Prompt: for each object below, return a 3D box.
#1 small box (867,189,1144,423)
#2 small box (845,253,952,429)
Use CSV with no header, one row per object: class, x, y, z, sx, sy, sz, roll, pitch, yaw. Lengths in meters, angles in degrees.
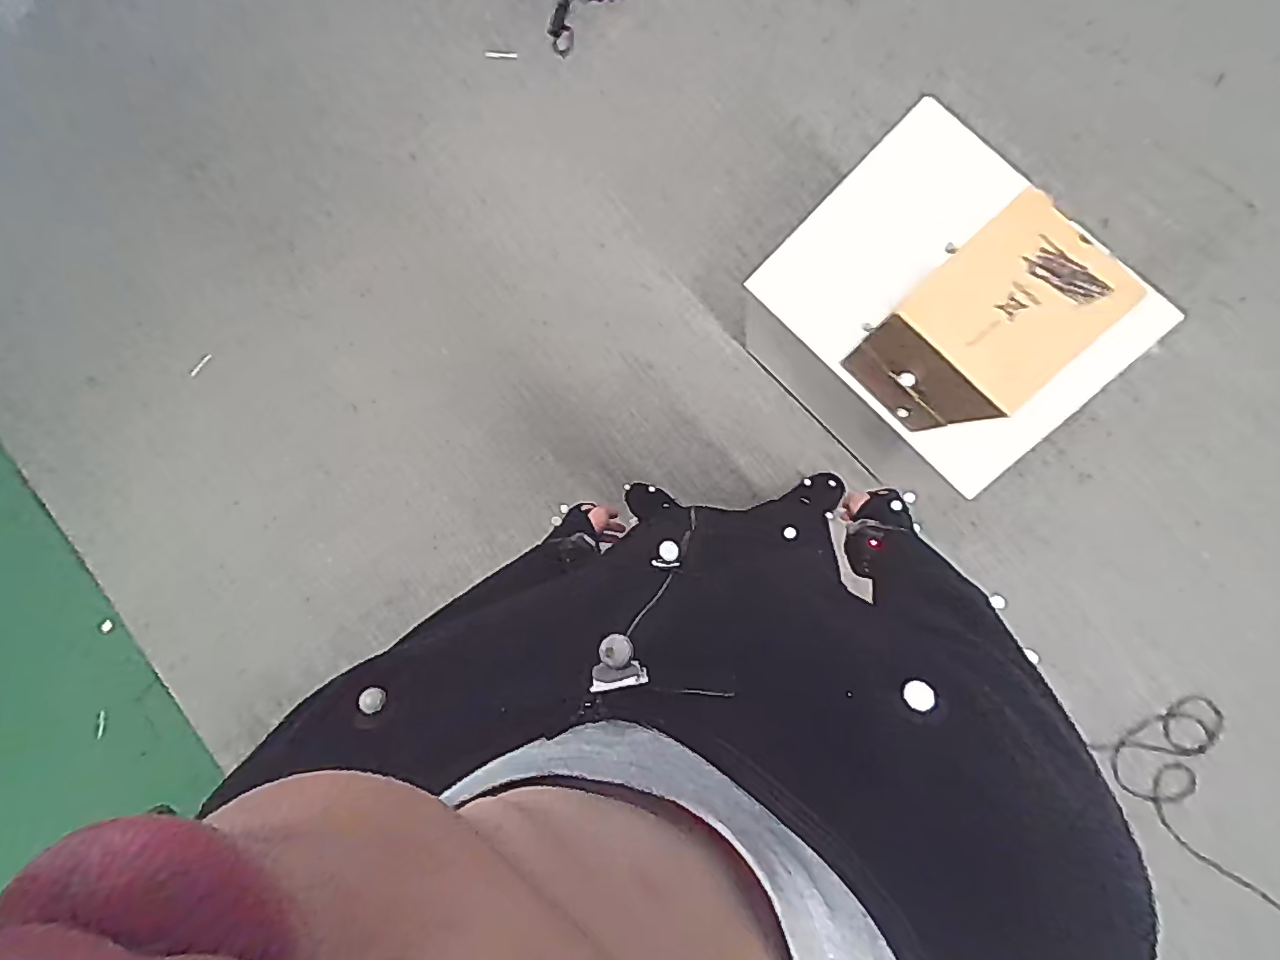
small box,0.399,-0.185,0.633,0.179,0.176,0.168,-44,85,10
small box,0.427,-0.191,0.795,0.179,0.176,0.168,-45,85,8
